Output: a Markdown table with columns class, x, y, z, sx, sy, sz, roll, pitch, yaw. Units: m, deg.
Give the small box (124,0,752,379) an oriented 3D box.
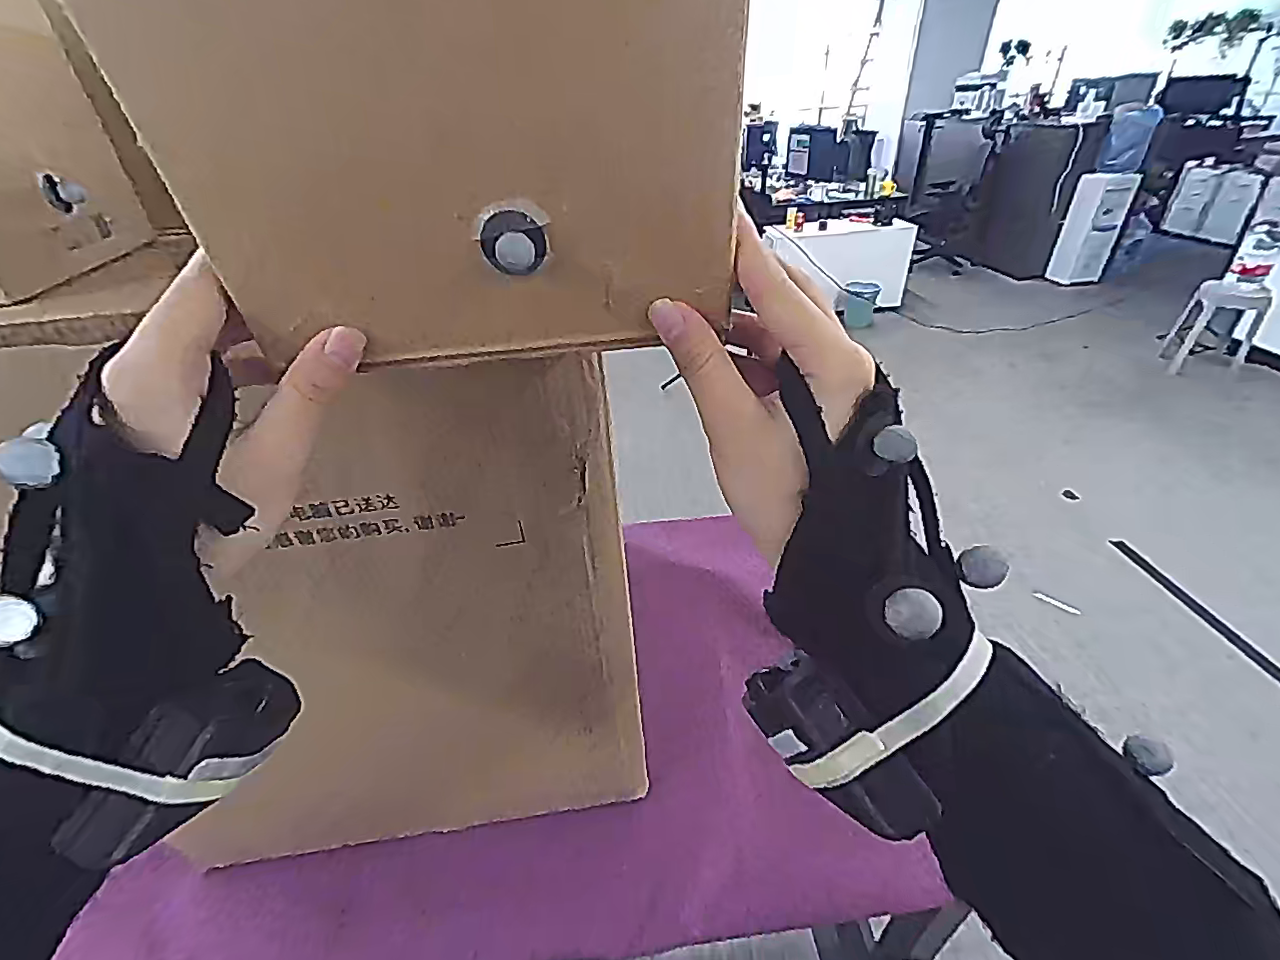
| class | x | y | z | sx | sy | sz | roll | pitch | yaw |
| --- | --- | --- | --- | --- | --- | --- | --- | --- | --- |
| small box | -0.058 | -0.162 | 0.215 | 0.179 | 0.176 | 0.168 | -6 | 41 | -2 |
